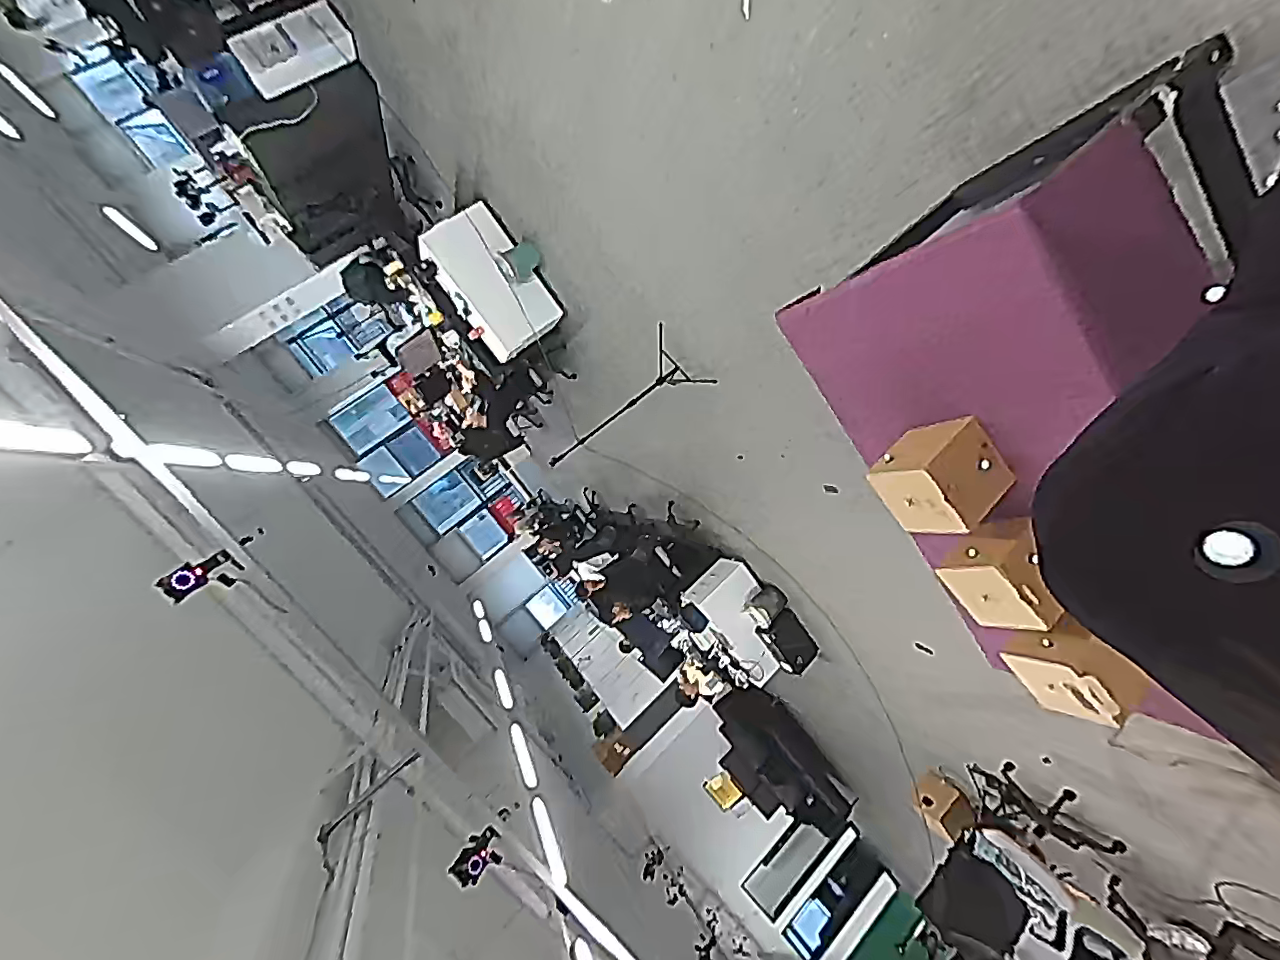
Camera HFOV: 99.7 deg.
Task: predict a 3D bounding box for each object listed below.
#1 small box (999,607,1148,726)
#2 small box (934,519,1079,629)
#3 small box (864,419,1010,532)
[{"bbox_3d":[0.952,0.395,1.183,0.168,0.176,0.179,51,164,-1],"label":"small box"},{"bbox_3d":[0.795,0.199,1.169,0.168,0.176,0.179,50,164,1],"label":"small box"},{"bbox_3d":[0.628,-0.007,1.148,0.168,0.176,0.179,52,163,-7],"label":"small box"}]
